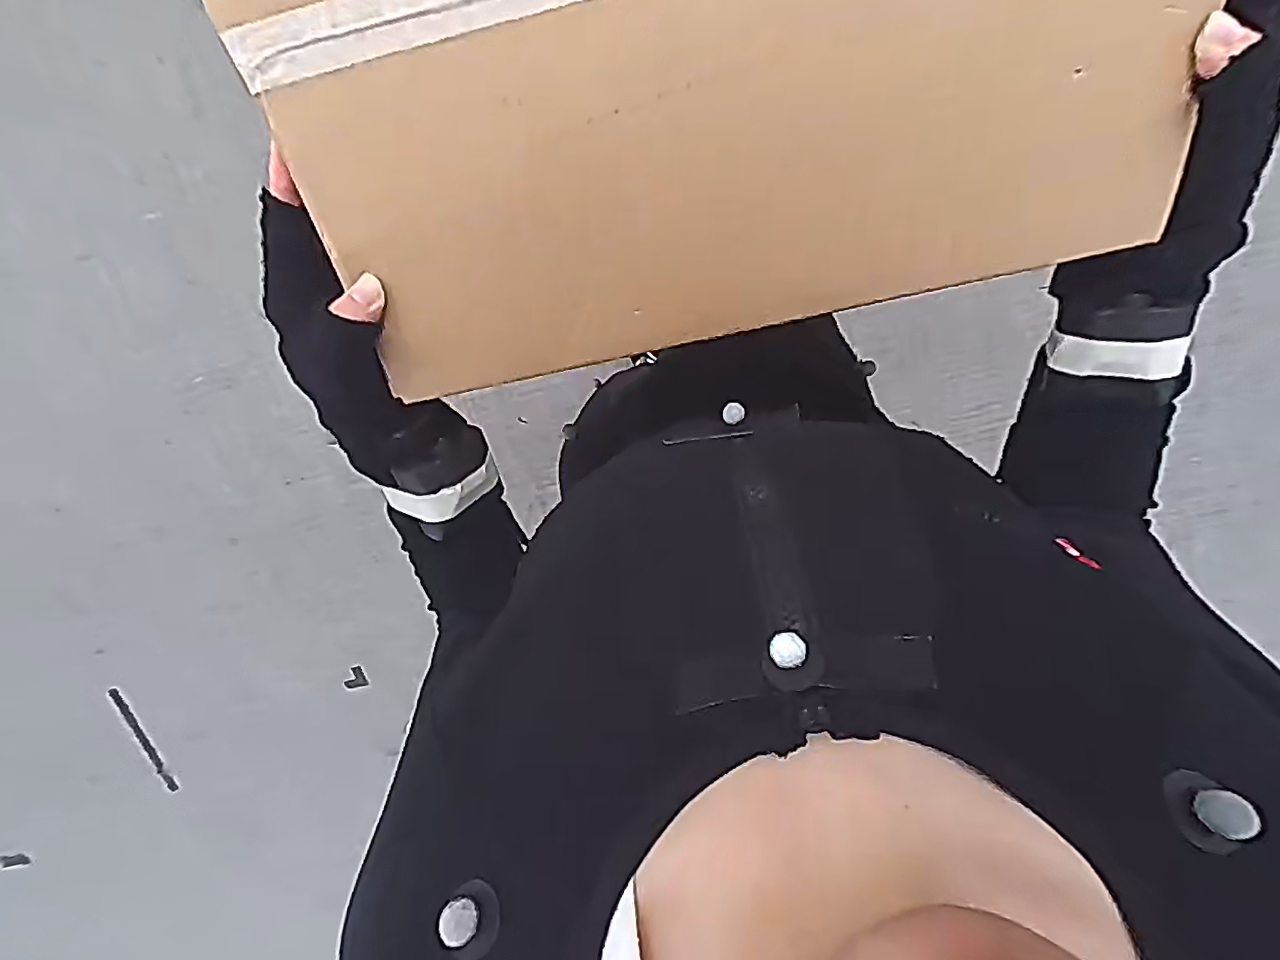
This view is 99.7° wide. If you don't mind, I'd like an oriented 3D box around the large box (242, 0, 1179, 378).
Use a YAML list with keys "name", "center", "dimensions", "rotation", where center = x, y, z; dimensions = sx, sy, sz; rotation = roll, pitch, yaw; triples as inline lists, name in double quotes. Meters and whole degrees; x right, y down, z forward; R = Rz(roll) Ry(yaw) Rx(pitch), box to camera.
- name: "large box"
  center: [0.022, -0.299, 0.351]
  dimensions: [0.408, 0.320, 0.320]
  rotation: [-11, 120, 4]
